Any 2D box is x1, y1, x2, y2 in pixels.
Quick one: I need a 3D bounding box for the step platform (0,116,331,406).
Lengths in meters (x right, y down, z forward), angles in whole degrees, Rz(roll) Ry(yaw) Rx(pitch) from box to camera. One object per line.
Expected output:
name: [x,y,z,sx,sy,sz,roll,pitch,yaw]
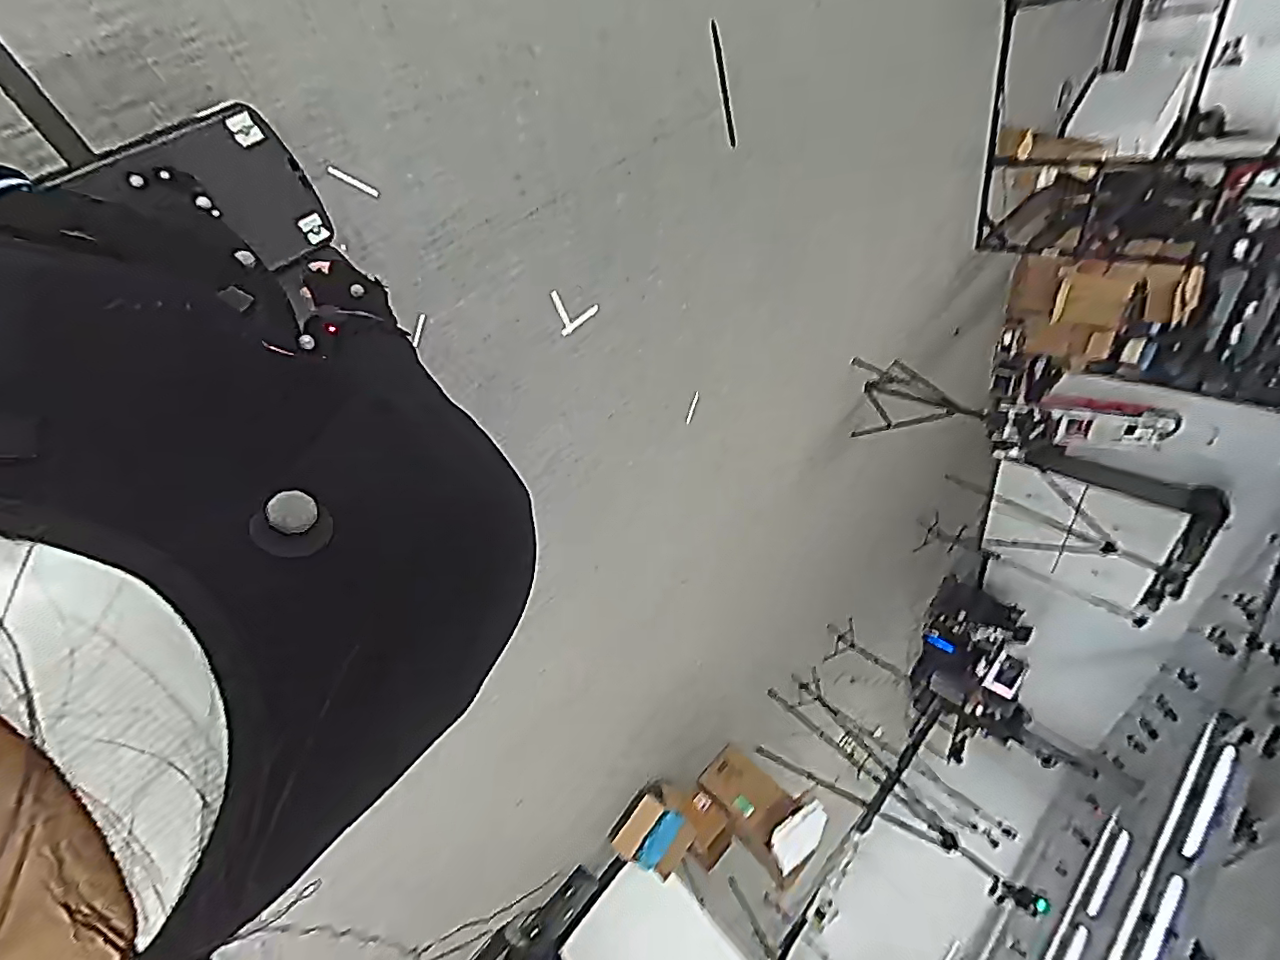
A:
step platform: [-1.006,-0.452,1.088,0.684,0.204,0.286,-44,136,-21]
